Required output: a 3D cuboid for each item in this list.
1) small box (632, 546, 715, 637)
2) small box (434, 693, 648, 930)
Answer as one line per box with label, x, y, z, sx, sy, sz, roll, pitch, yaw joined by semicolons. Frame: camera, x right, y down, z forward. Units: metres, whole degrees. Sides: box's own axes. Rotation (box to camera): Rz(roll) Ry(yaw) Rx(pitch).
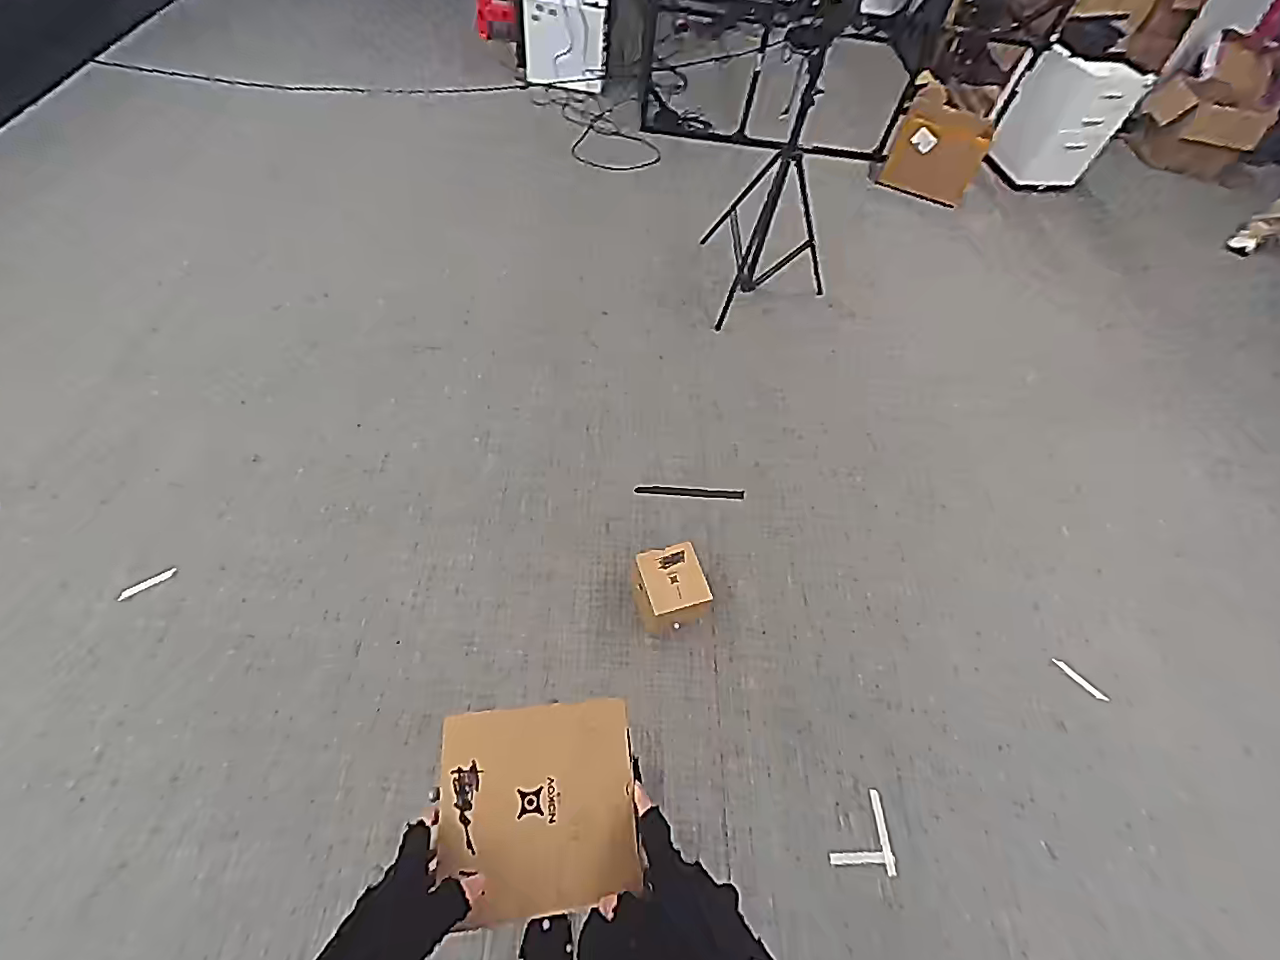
small box;0.084;0.310;1.494;0.168;0.176;0.179;-12;59;-15
small box;-0.101;0.322;0.547;0.179;0.176;0.168;-1;59;-13
